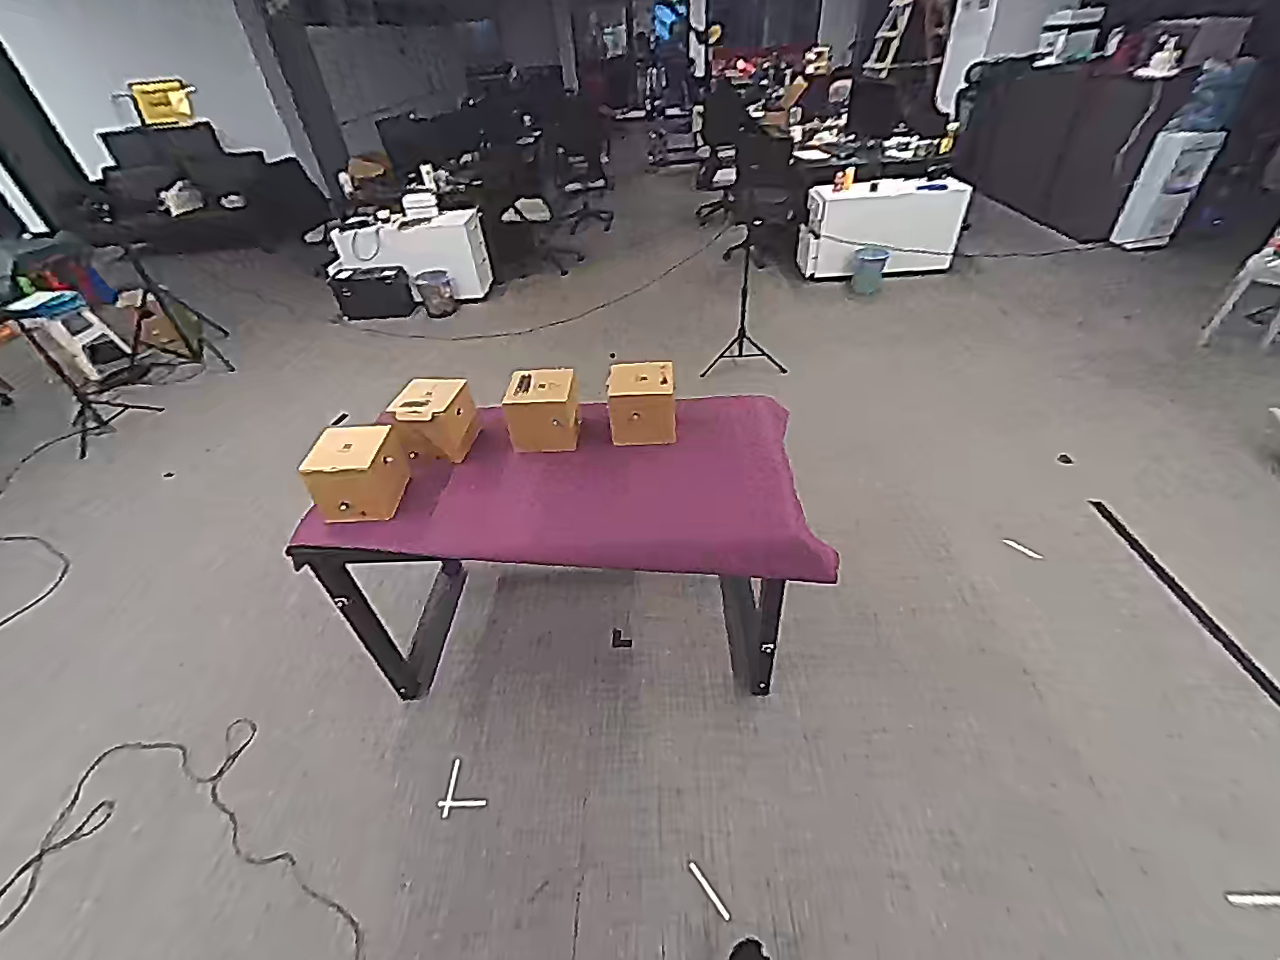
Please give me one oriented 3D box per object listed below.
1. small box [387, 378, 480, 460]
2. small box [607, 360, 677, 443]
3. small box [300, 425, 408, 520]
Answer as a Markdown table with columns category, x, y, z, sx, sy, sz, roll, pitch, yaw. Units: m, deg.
| category | x | y | z | sx | sy | sz | roll | pitch | yaw |
| --- | --- | --- | --- | --- | --- | --- | --- | --- | --- |
| small box | -0.567 | -0.170 | 1.518 | 0.168 | 0.176 | 0.179 | 2 | 41 | 8 |
| small box | 0.011 | -0.217 | 1.512 | 0.179 | 0.176 | 0.168 | -2 | 43 | 5 |
| small box | -0.699 | -0.019 | 1.350 | 0.168 | 0.176 | 0.179 | -3 | 41 | -1 |
